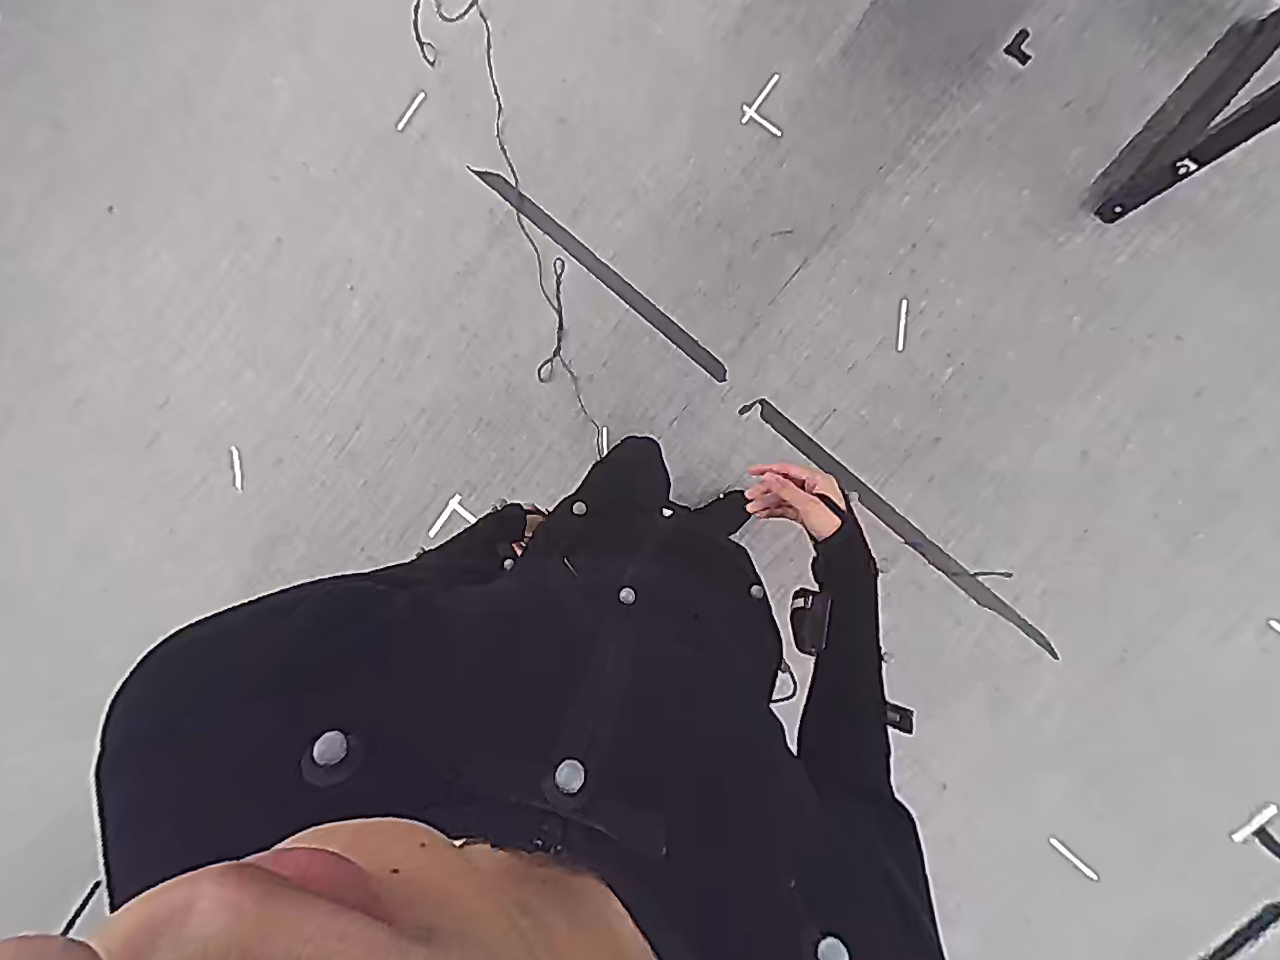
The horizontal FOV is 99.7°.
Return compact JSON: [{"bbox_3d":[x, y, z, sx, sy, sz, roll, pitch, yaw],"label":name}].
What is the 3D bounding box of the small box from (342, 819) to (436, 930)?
[{"bbox_3d":[-0.632,0.979,1.305,0.168,0.176,0.179,39,99,3],"label":"small box"}]
